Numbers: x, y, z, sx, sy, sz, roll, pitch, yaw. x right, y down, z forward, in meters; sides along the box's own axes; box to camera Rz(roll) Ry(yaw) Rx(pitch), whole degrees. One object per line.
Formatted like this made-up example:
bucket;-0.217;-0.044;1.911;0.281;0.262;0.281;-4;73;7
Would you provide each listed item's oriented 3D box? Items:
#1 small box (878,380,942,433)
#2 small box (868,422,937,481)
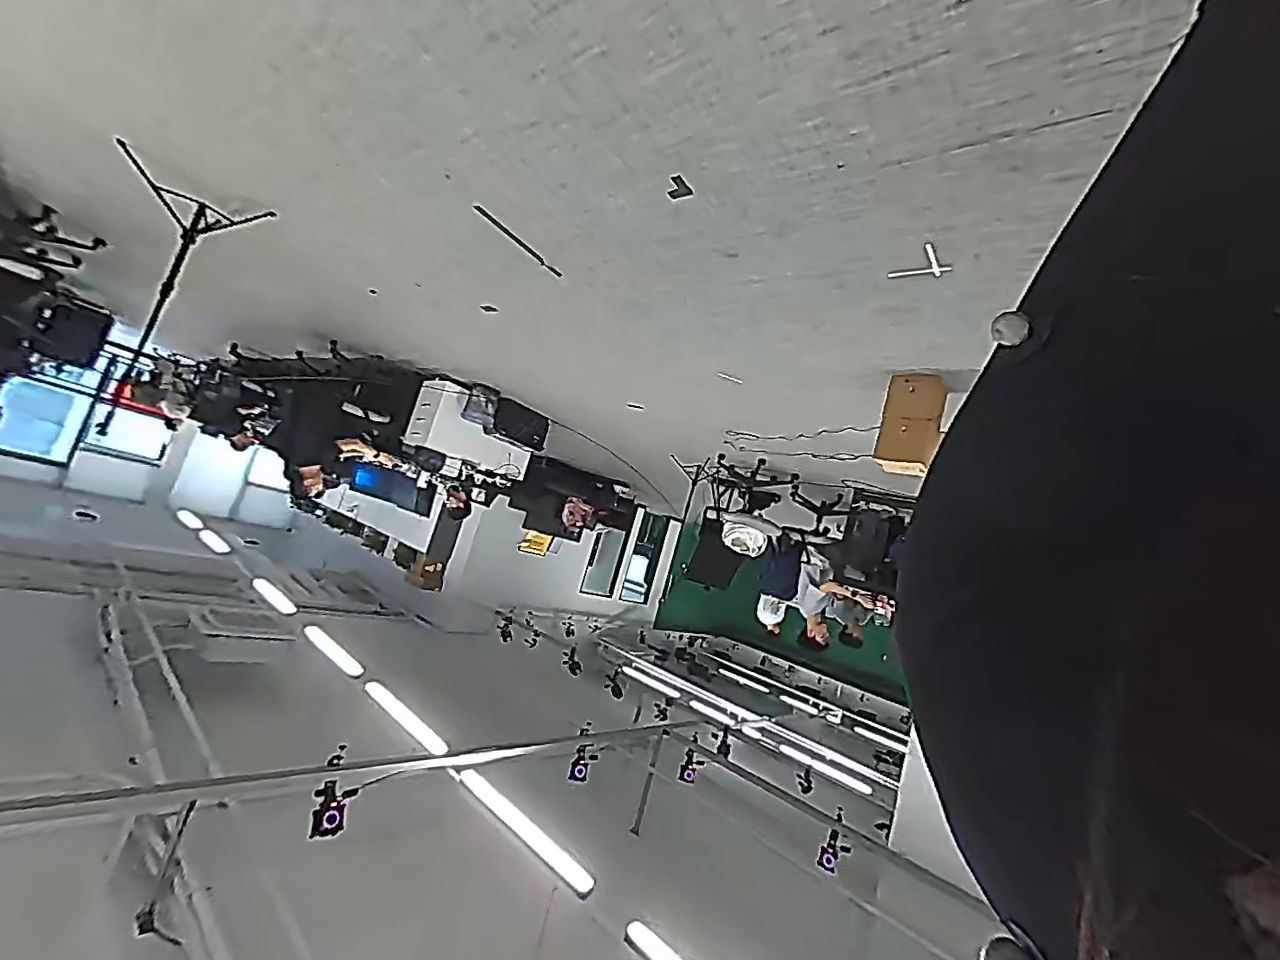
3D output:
small box;1.032;-0.270;2.059;0.168;0.176;0.179;10;170;41
small box;0.991;-0.112;2.037;0.179;0.176;0.168;12;172;42
